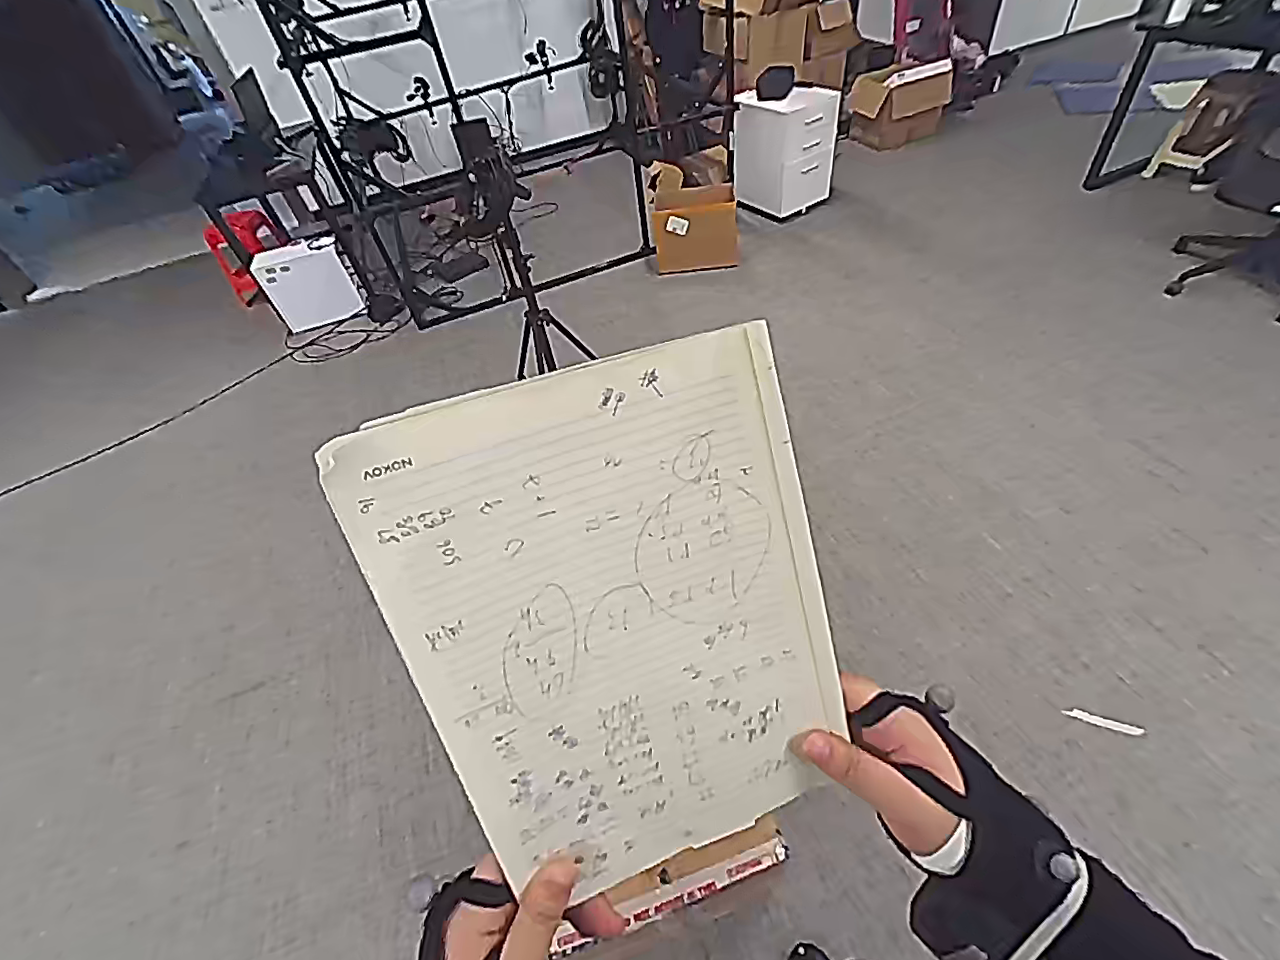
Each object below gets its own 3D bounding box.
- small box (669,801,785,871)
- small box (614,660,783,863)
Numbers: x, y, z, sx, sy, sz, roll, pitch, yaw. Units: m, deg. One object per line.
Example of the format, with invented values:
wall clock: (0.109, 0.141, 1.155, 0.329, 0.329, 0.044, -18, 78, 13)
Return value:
small box: (0.101, 0.475, 0.842, 0.179, 0.176, 0.168, -18, 48, -9)
small box: (0.069, 0.373, 0.715, 0.168, 0.176, 0.179, -15, 49, -7)
